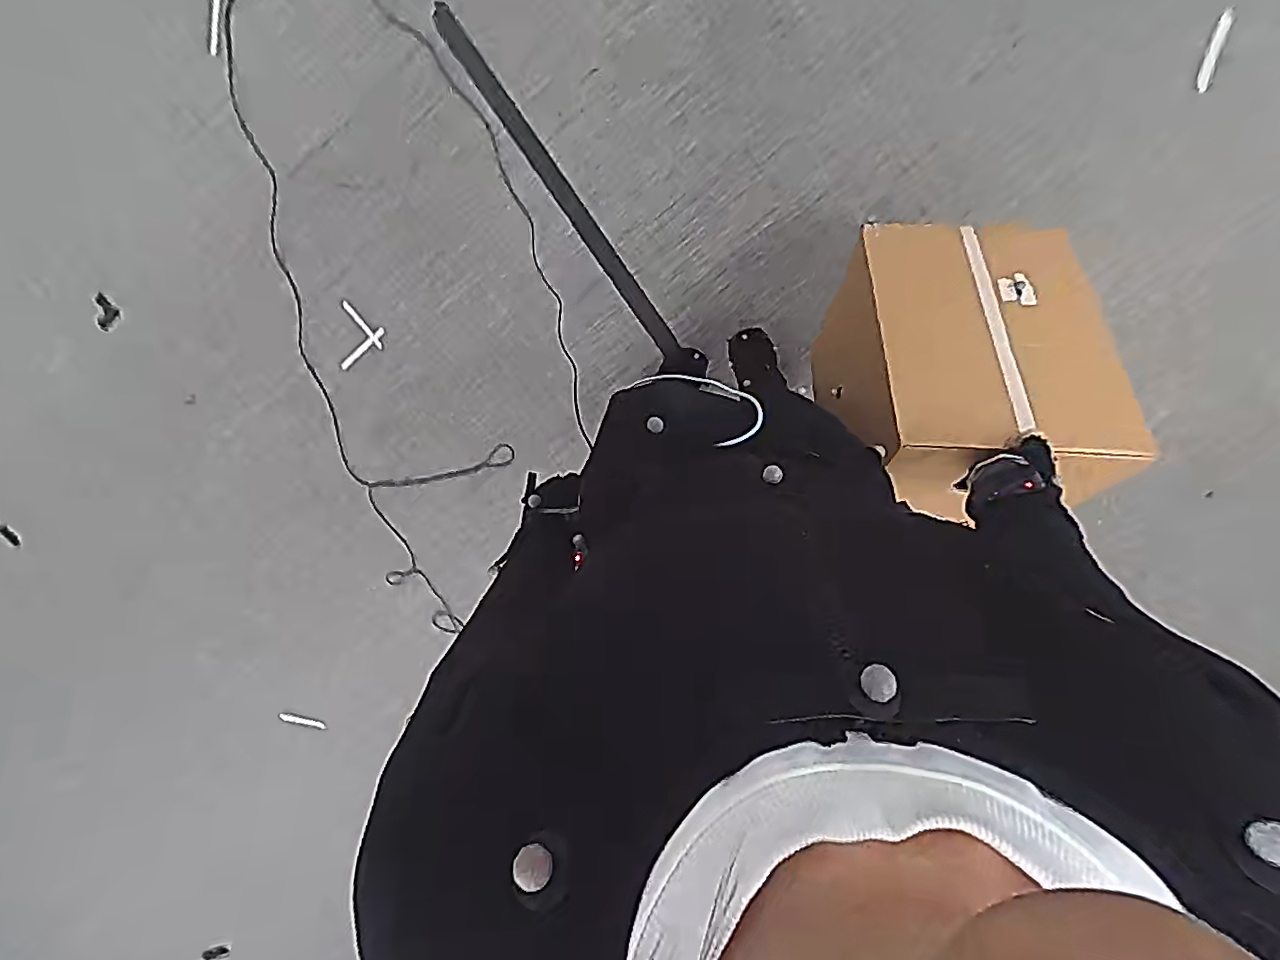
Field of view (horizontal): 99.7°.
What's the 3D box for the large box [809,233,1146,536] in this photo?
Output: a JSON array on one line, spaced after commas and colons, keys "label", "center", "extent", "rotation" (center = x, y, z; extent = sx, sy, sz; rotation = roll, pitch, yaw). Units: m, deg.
[{"label": "large box", "center": [0.494, -0.145, 0.906], "extent": [0.320, 0.320, 0.408], "rotation": [2, 62, 1]}]
